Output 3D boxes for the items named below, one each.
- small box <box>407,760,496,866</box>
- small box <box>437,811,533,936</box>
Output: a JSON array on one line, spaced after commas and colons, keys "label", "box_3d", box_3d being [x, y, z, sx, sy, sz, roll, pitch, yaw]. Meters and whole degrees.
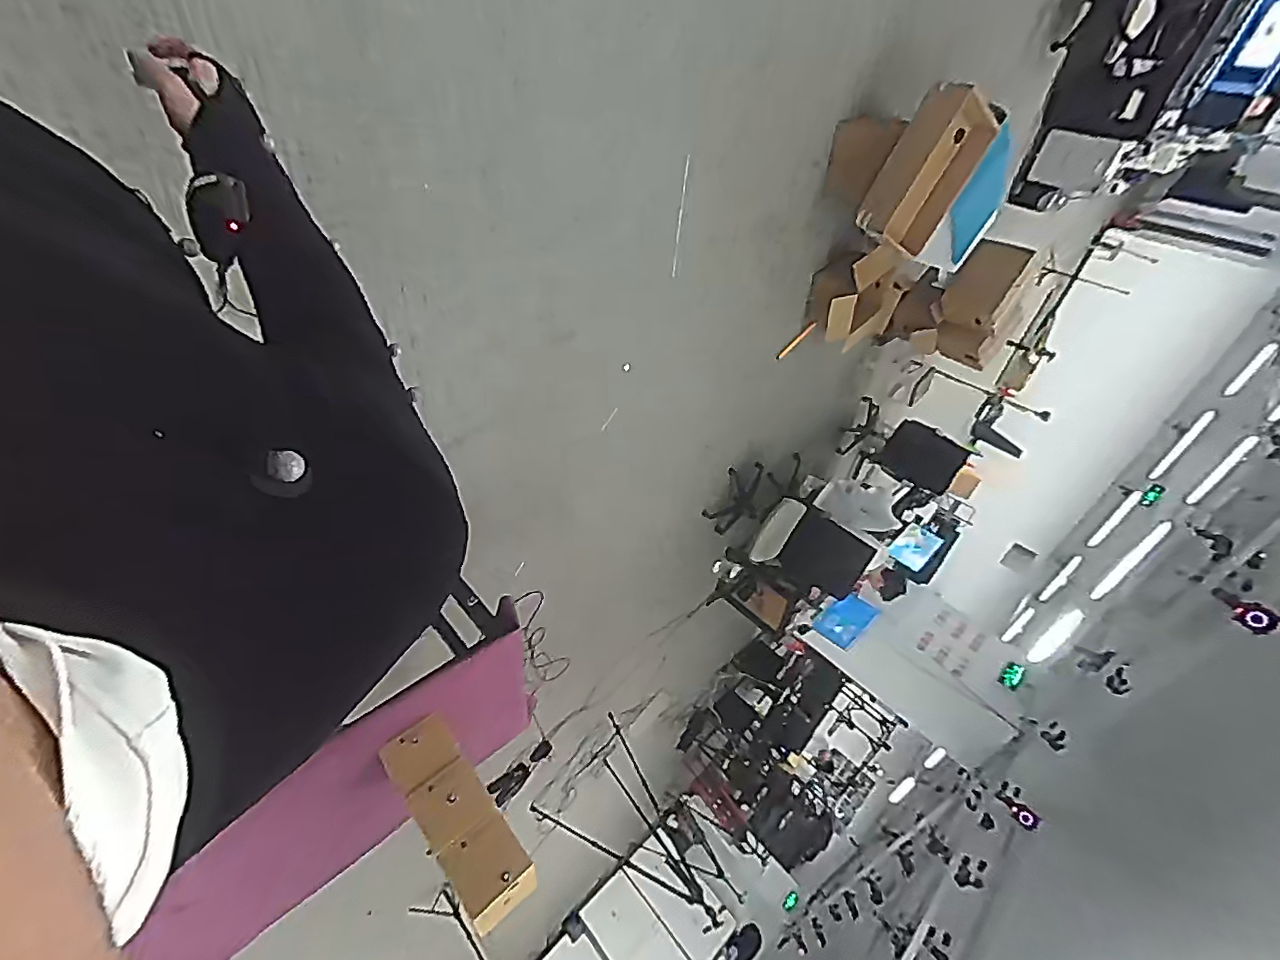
[{"label": "small box", "box_3d": [-0.491, 0.875, 1.418, 0.168, 0.176, 0.179, -26, 140, -36]}, {"label": "small box", "box_3d": [-0.381, 0.966, 1.338, 0.168, 0.176, 0.179, -29, 142, -35]}]
